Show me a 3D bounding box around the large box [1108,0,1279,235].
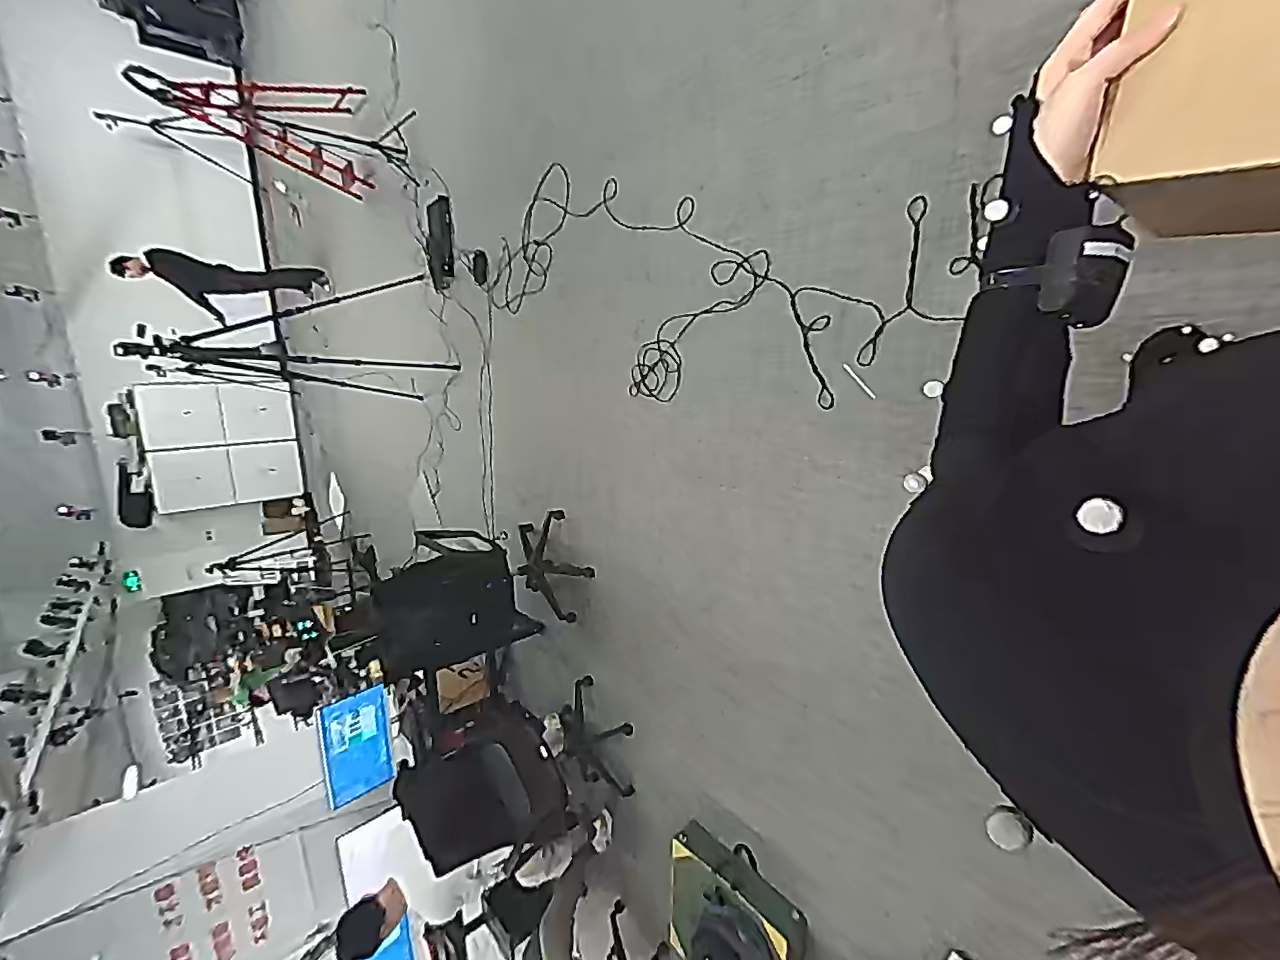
[{"bbox_3d":[0.583,-0.347,0.310,0.408,0.320,0.320,19,113,45],"label":"large box"}]
